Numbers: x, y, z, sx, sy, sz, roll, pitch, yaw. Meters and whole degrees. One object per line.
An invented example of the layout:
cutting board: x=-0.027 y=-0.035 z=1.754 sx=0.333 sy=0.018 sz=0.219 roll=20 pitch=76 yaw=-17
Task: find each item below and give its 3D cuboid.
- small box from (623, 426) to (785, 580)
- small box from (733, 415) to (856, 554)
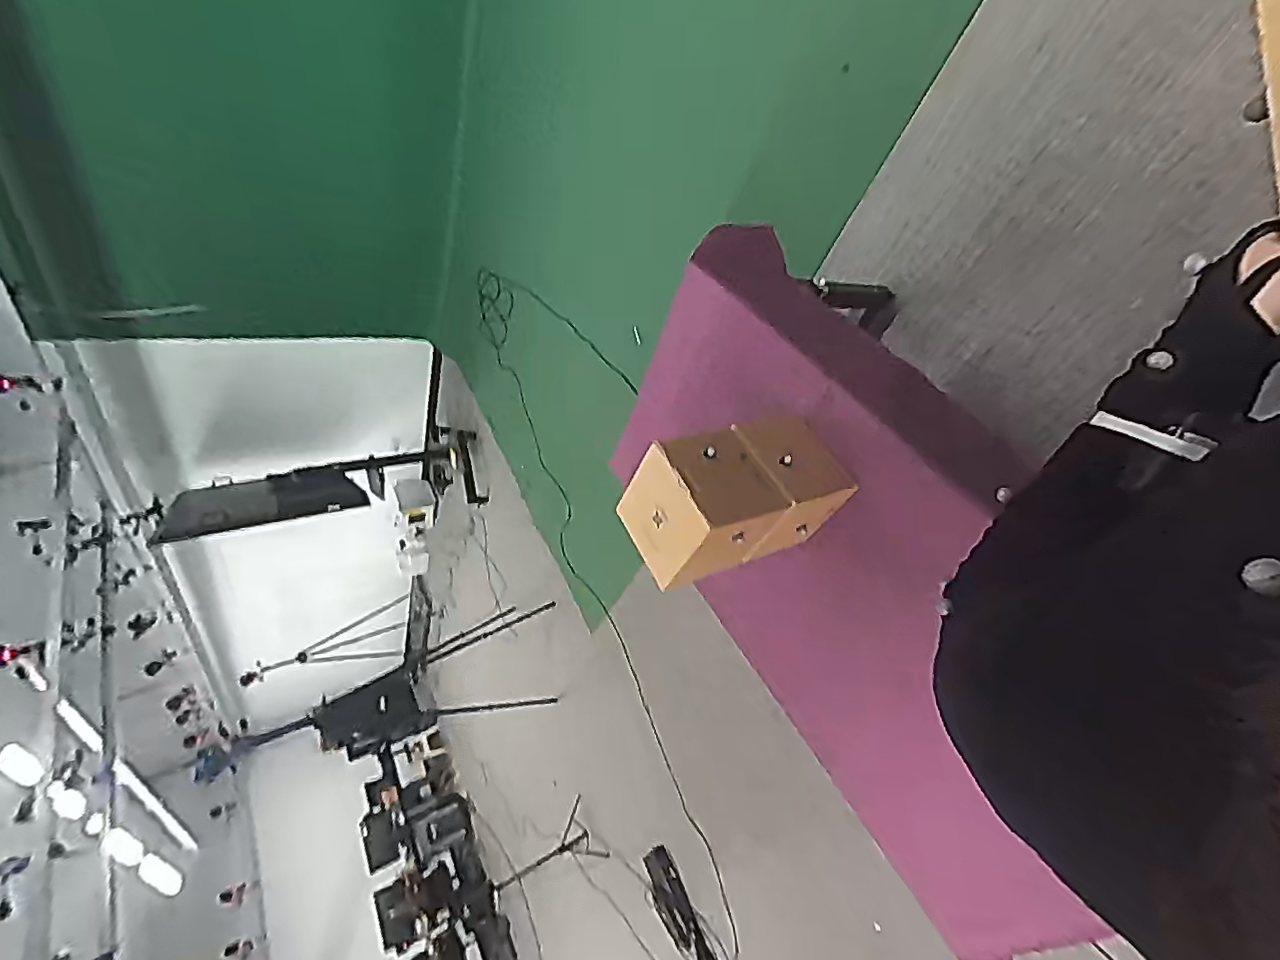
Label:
small box: x=0.104 y=0.031 z=0.870 sx=0.168 sy=0.176 sz=0.179 roll=60 pitch=142 yaw=27
small box: x=0.240 y=0.000 z=0.954 sx=0.179 sy=0.176 sz=0.168 roll=59 pitch=141 yaw=27
